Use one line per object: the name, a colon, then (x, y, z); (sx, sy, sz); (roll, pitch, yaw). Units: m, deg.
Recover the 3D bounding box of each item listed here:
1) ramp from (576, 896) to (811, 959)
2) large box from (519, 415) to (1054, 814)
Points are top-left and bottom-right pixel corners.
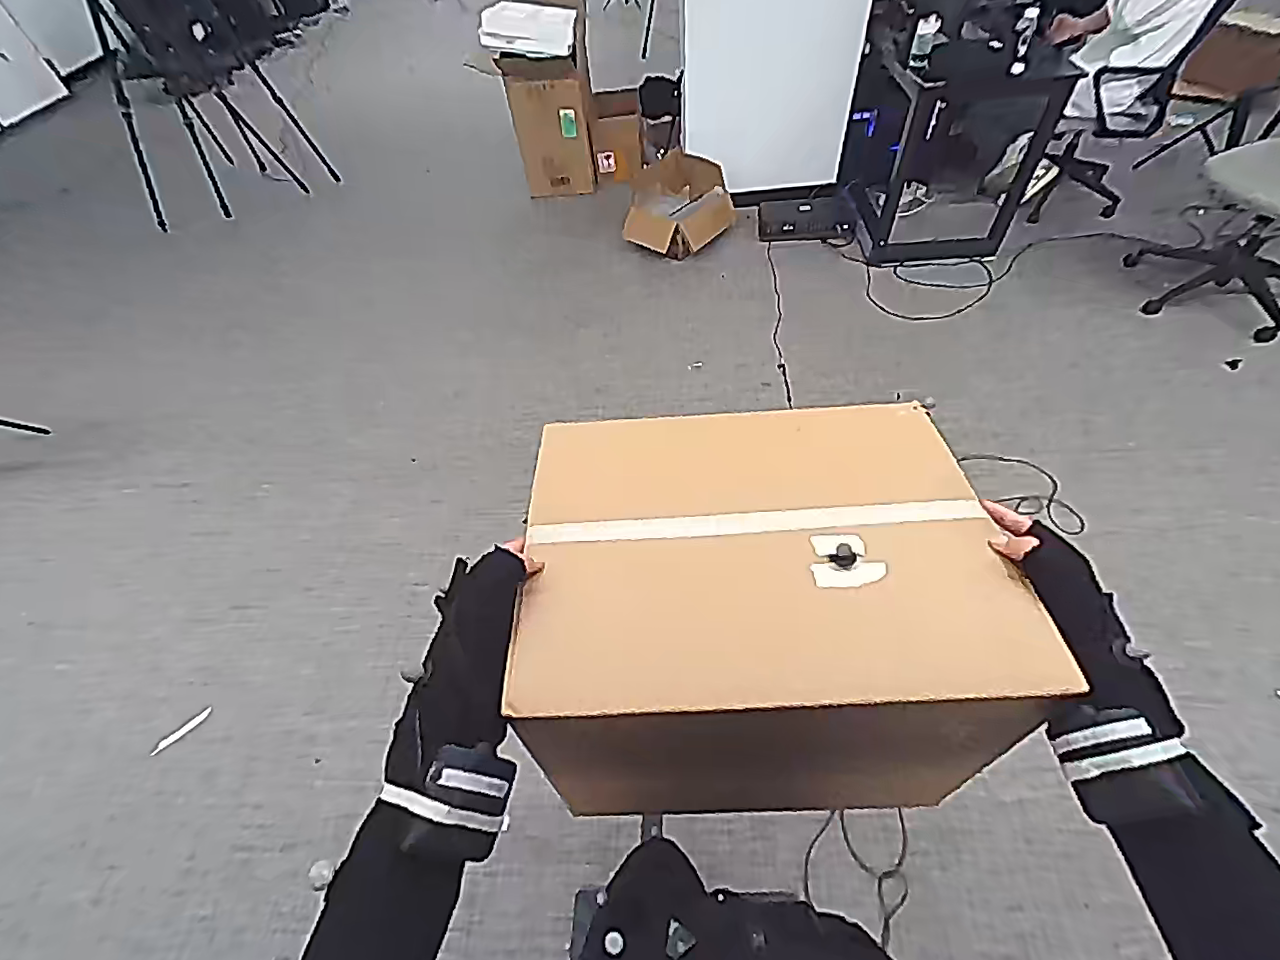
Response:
ramp: (0.098, 1.256, 0.829); (0.509, 0.206, 0.991); (-5, 52, 4)
large box: (0.109, 0.153, 0.604); (0.408, 0.320, 0.320); (-3, 47, 2)
